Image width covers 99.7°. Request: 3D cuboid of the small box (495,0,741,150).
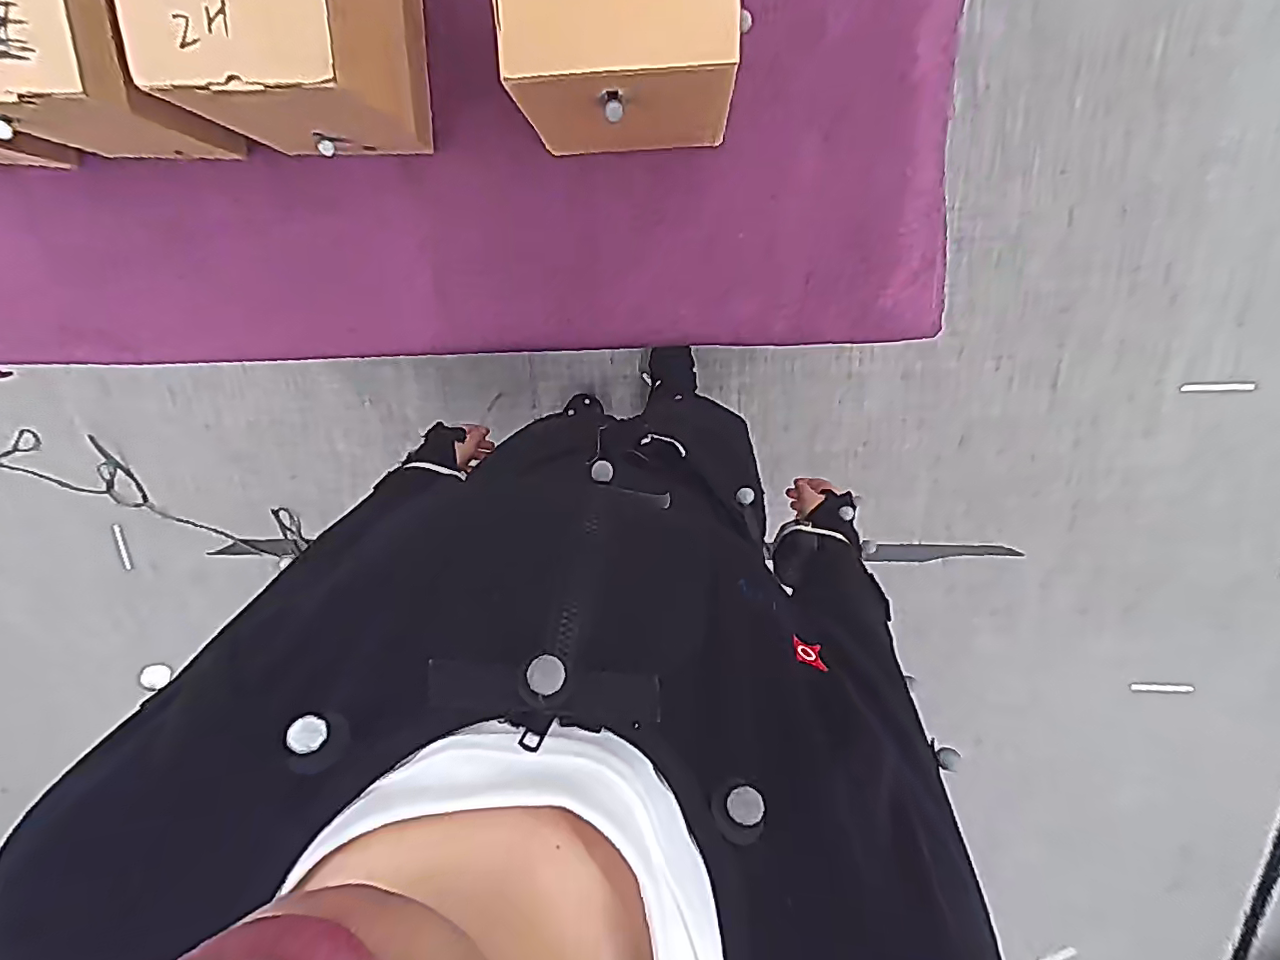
[{"bbox_3d":[-0.011,-0.392,0.446,0.179,0.176,0.168,0,105,5],"label":"small box"}]
